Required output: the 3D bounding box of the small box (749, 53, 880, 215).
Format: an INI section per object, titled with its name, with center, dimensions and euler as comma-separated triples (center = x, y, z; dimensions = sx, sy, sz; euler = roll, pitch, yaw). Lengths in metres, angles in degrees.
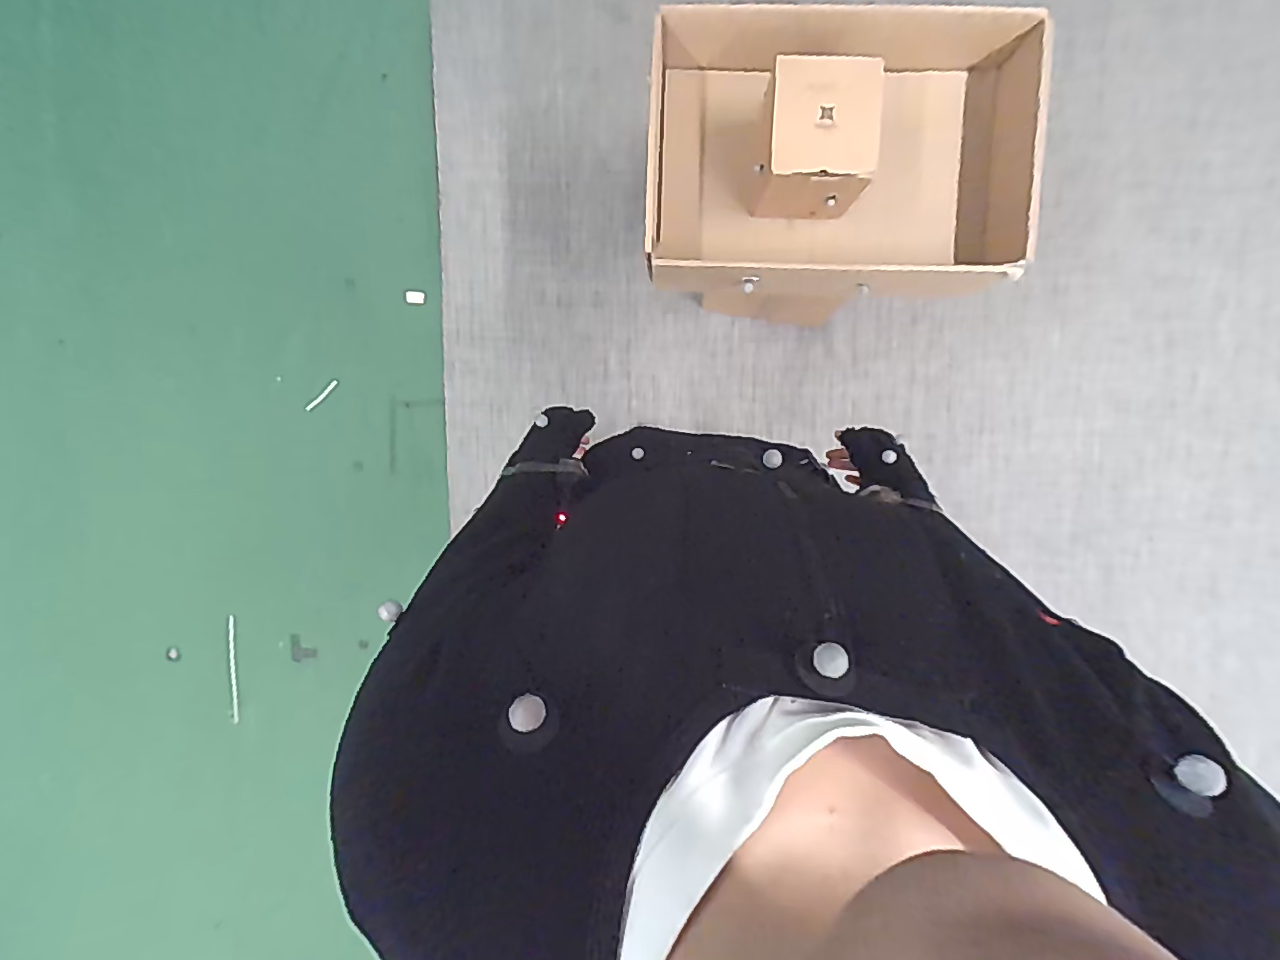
[small box]
center = 0.283, -0.568, 0.911
dimensions = 0.168, 0.176, 0.179
euler = 2, 94, 0
